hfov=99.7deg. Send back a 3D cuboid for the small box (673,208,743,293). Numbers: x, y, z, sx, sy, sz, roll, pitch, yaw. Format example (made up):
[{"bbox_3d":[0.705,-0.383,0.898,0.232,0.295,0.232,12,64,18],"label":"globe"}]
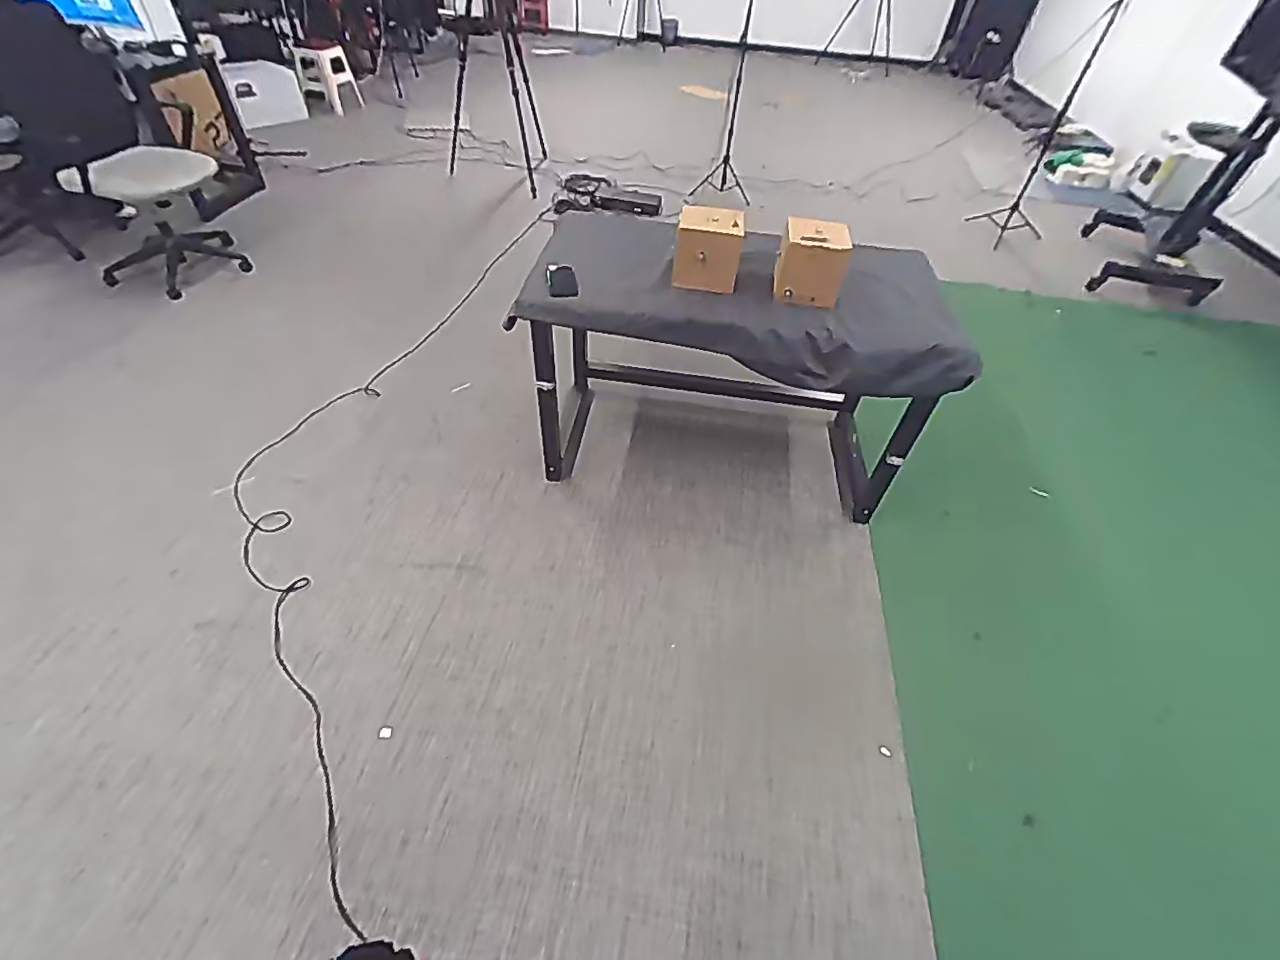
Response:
[{"bbox_3d":[0.190,-0.650,1.536,0.179,0.176,0.168,8,47,3],"label":"small box"}]

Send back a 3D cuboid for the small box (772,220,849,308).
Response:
[{"bbox_3d":[0.472,-0.604,1.520,0.168,0.176,0.179,10,46,3],"label":"small box"}]
